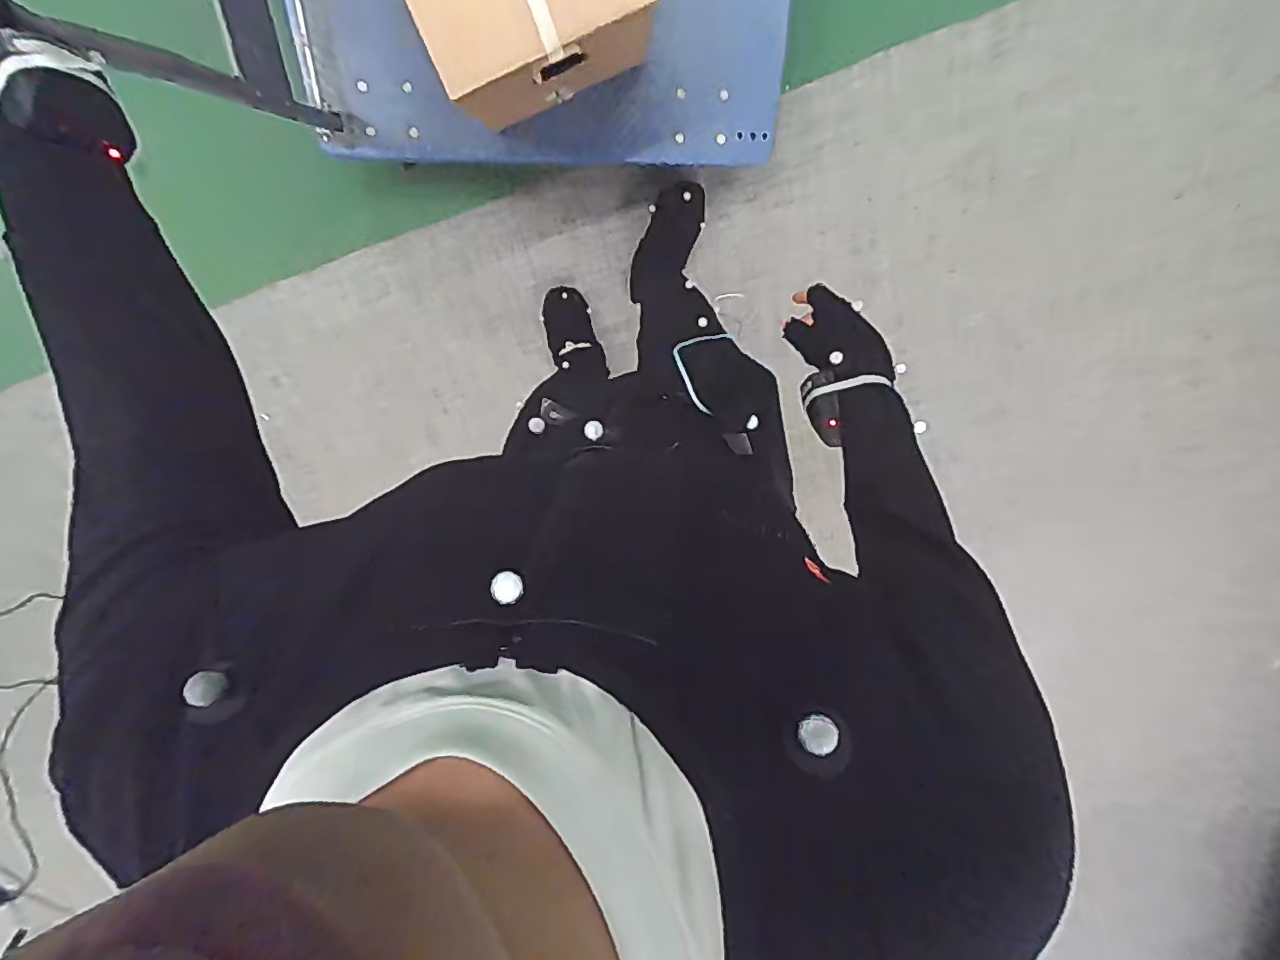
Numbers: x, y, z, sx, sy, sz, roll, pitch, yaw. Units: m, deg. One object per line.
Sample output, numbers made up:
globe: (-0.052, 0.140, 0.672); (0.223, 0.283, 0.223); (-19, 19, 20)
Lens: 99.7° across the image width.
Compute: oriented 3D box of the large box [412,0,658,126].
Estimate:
large box: (-0.186, -0.814, 0.782); (0.320, 0.320, 0.408); (-20, 115, 8)
